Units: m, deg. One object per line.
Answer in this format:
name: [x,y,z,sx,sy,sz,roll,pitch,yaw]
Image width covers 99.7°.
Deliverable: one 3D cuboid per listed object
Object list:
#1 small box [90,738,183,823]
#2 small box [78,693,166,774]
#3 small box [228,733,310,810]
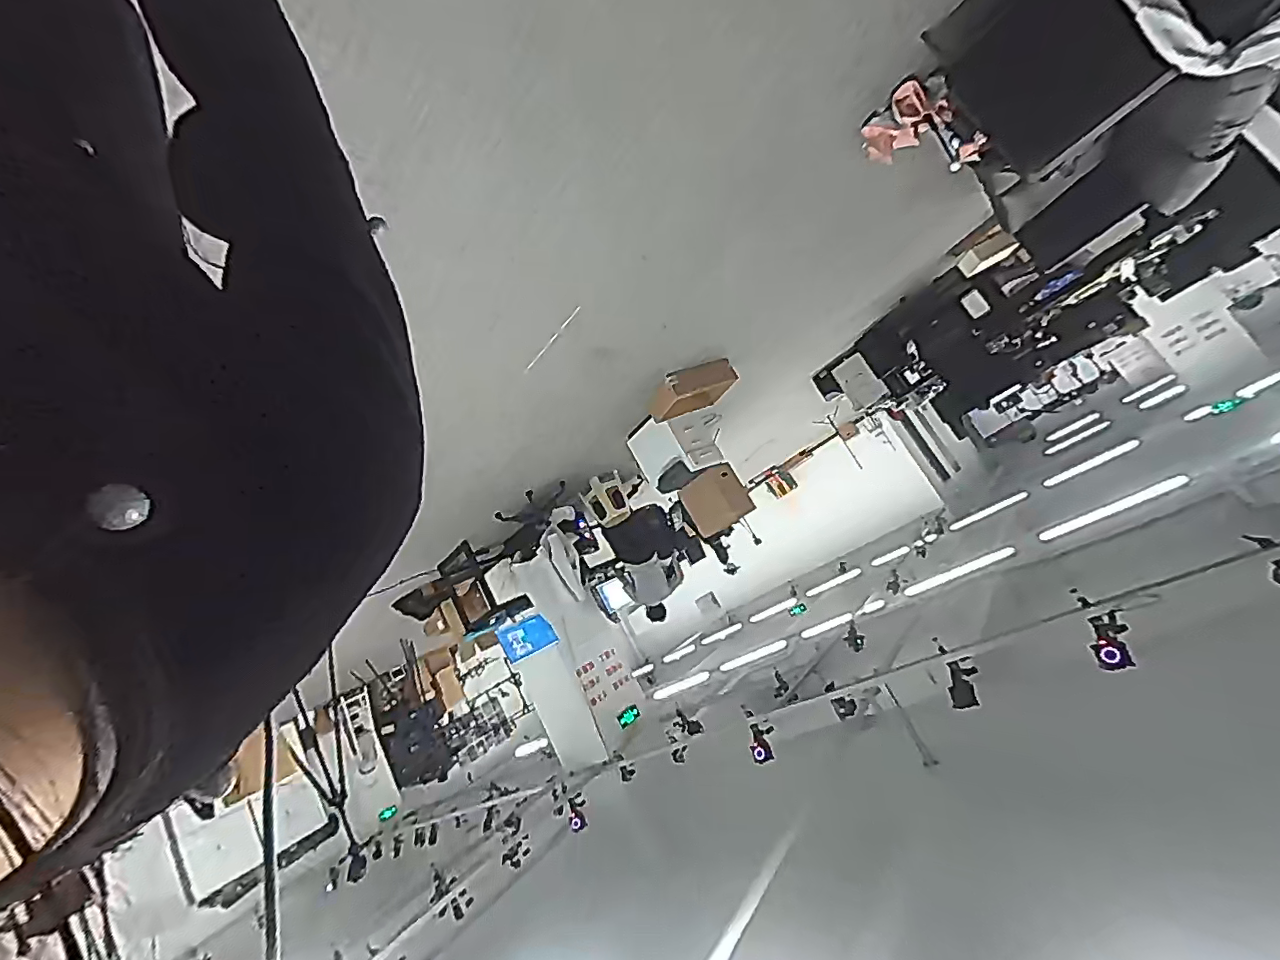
small box: [-1.663,0.985,1.785,0.168,0.176,0.179,-37,166,31]
small box: [-1.749,0.849,1.821,0.168,0.176,0.179,-37,166,33]
small box: [-1.407,1.096,2.043,0.168,0.176,0.179,-33,168,17]
